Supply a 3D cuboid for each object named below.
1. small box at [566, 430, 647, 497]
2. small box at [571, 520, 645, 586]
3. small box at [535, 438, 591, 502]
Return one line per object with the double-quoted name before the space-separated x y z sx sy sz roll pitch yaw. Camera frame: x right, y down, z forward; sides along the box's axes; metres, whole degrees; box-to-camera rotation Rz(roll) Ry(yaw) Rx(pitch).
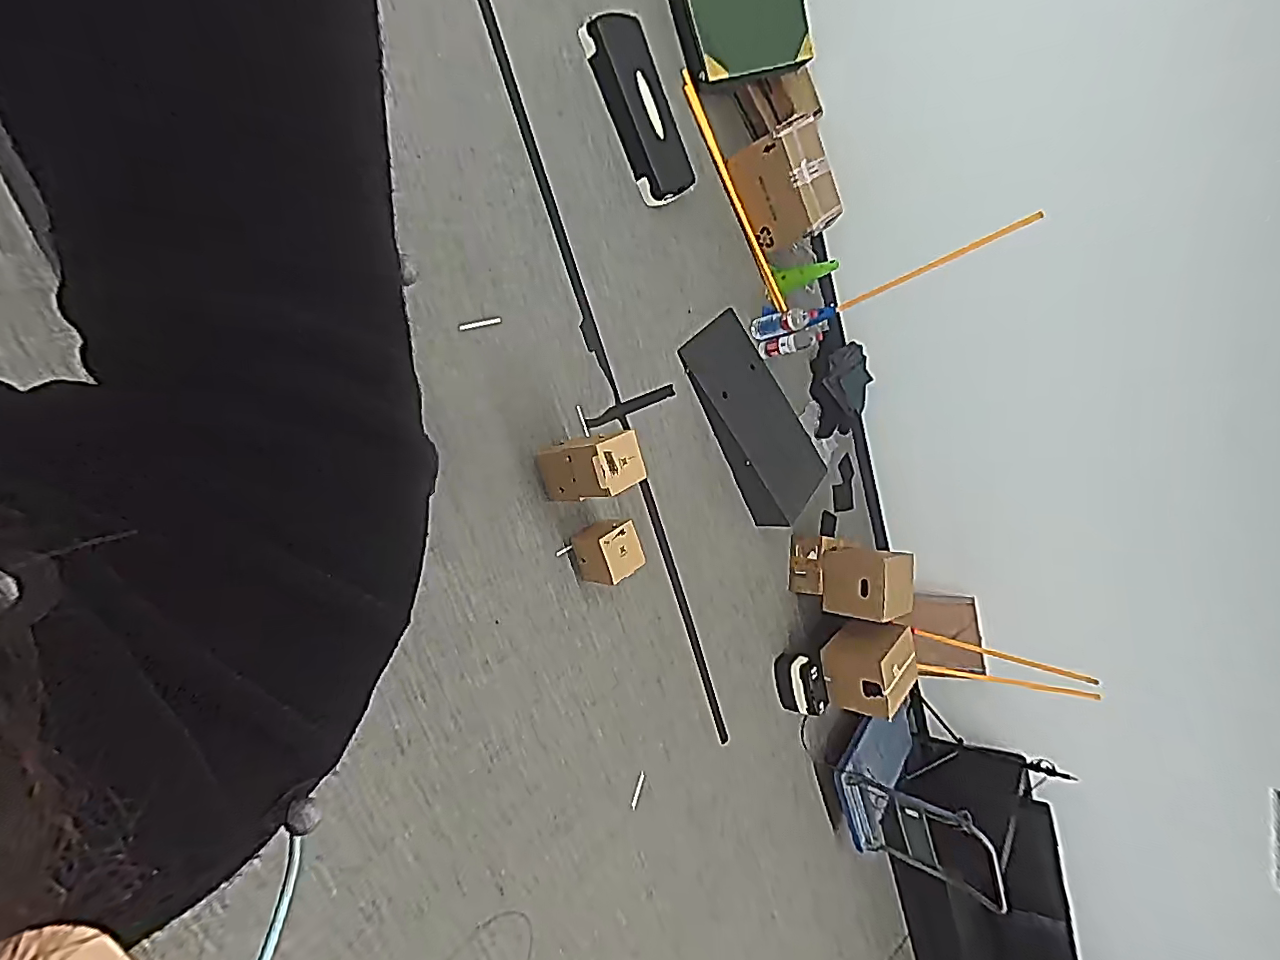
"small box" -0.113 -0.050 1.704 0.179 0.176 0.168 -28 108 -43
"small box" -0.115 0.253 1.914 0.168 0.176 0.179 -30 109 -42
"small box" -0.223 -0.036 1.825 0.168 0.176 0.179 -31 109 -41
